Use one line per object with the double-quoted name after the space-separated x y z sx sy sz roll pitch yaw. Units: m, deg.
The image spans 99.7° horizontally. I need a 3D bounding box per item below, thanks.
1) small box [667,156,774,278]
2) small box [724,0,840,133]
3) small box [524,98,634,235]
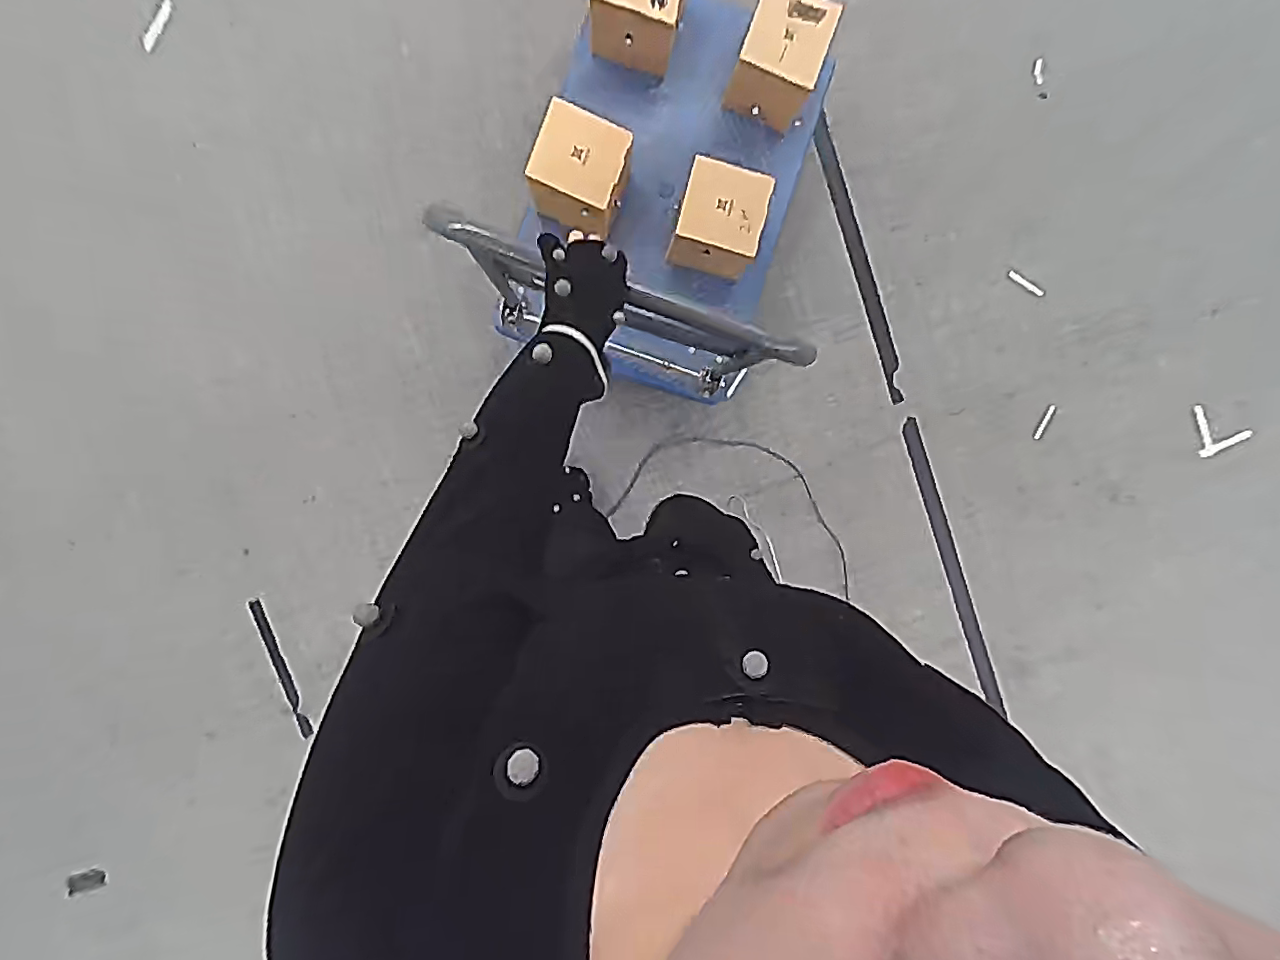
0.166 -0.564 1.186 0.179 0.176 0.168 15 93 -6 "small box"
0.297 -0.907 1.171 0.168 0.176 0.179 20 94 -6 "small box"
-0.129 -0.654 1.156 0.179 0.176 0.168 21 92 -7 "small box"
